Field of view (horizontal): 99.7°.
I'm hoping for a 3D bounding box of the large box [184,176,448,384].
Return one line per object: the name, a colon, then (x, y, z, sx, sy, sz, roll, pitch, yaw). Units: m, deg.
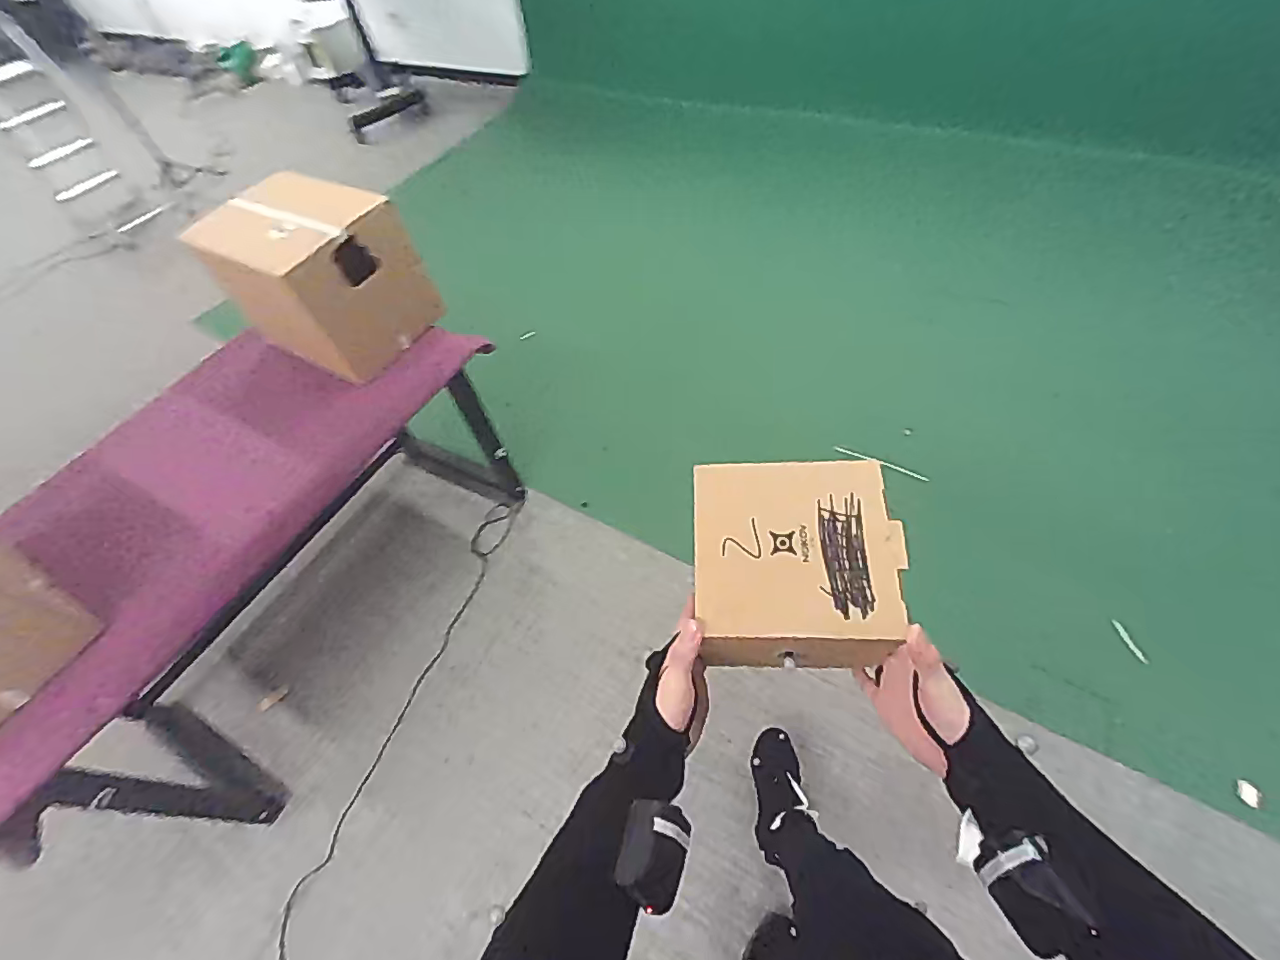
large box: (-0.768, -0.493, 1.332, 0.408, 0.320, 0.320, 24, 62, 21)
